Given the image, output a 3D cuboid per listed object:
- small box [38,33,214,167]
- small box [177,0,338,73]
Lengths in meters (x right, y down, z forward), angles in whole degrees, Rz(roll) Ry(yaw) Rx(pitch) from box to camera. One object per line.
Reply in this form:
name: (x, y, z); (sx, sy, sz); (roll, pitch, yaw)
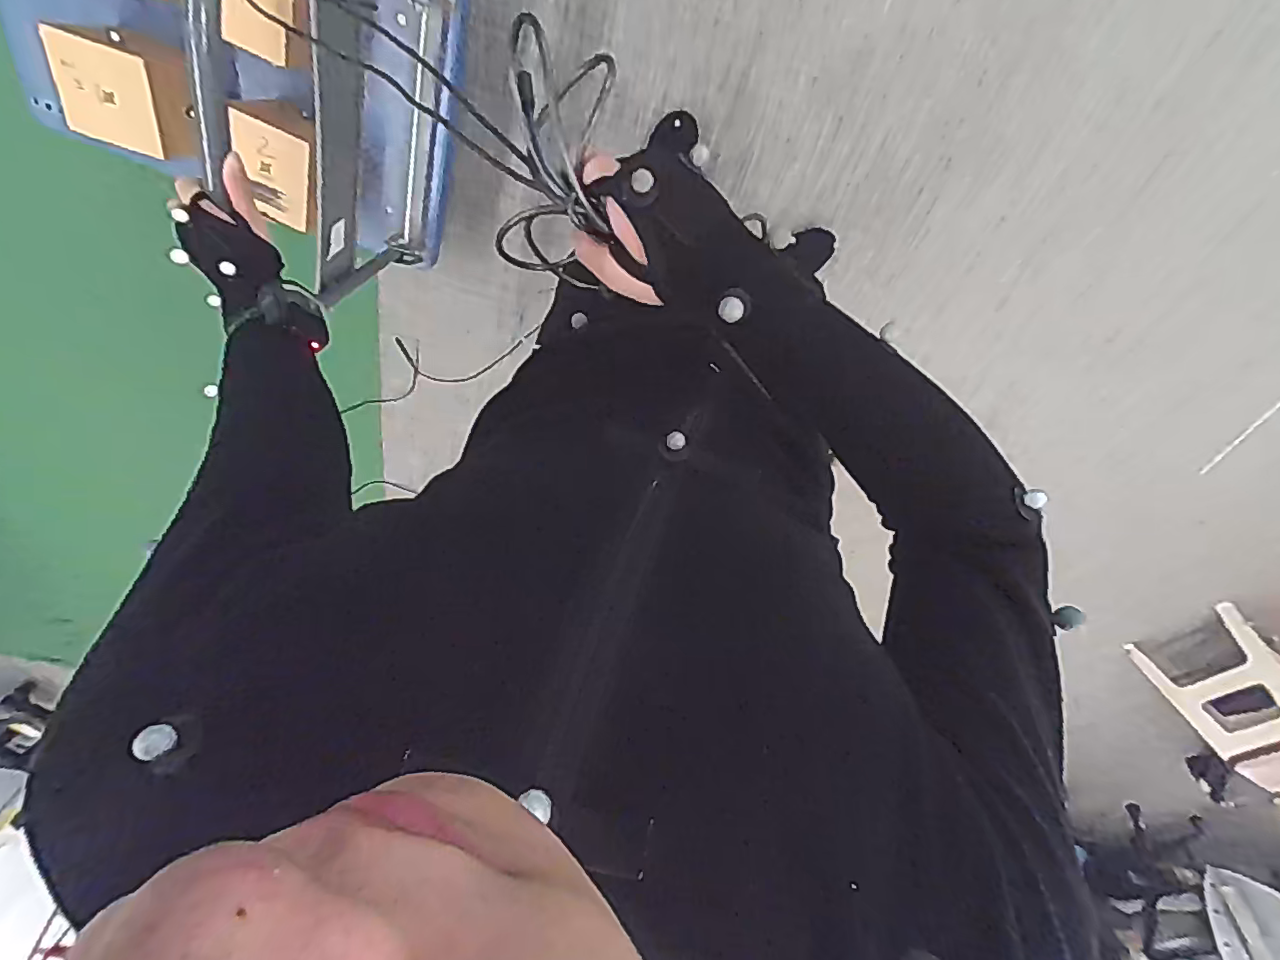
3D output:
small box: (-0.977, -0.741, 1.055); (0.179, 0.176, 0.168); (16, 127, -7)
small box: (-0.661, -0.842, 0.943); (0.179, 0.176, 0.168); (20, 127, -10)
